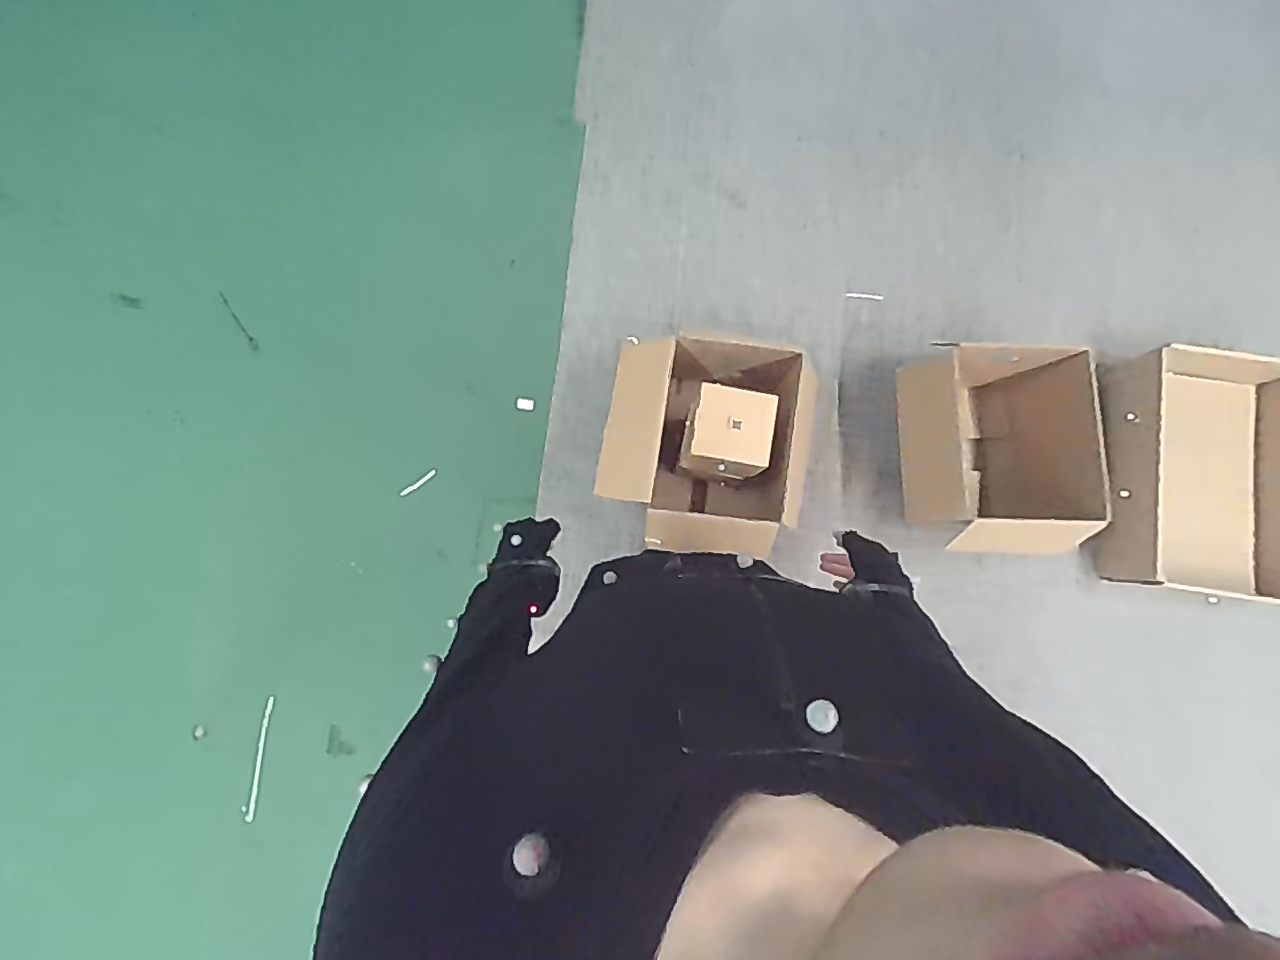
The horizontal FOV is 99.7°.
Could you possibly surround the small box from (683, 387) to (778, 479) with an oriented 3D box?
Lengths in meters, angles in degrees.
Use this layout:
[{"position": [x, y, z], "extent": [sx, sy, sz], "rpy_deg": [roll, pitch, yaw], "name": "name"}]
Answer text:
[{"position": [0.206, -0.102, 1.267], "extent": [0.179, 0.176, 0.168], "rpy_deg": [10, 81, 1], "name": "small box"}]
